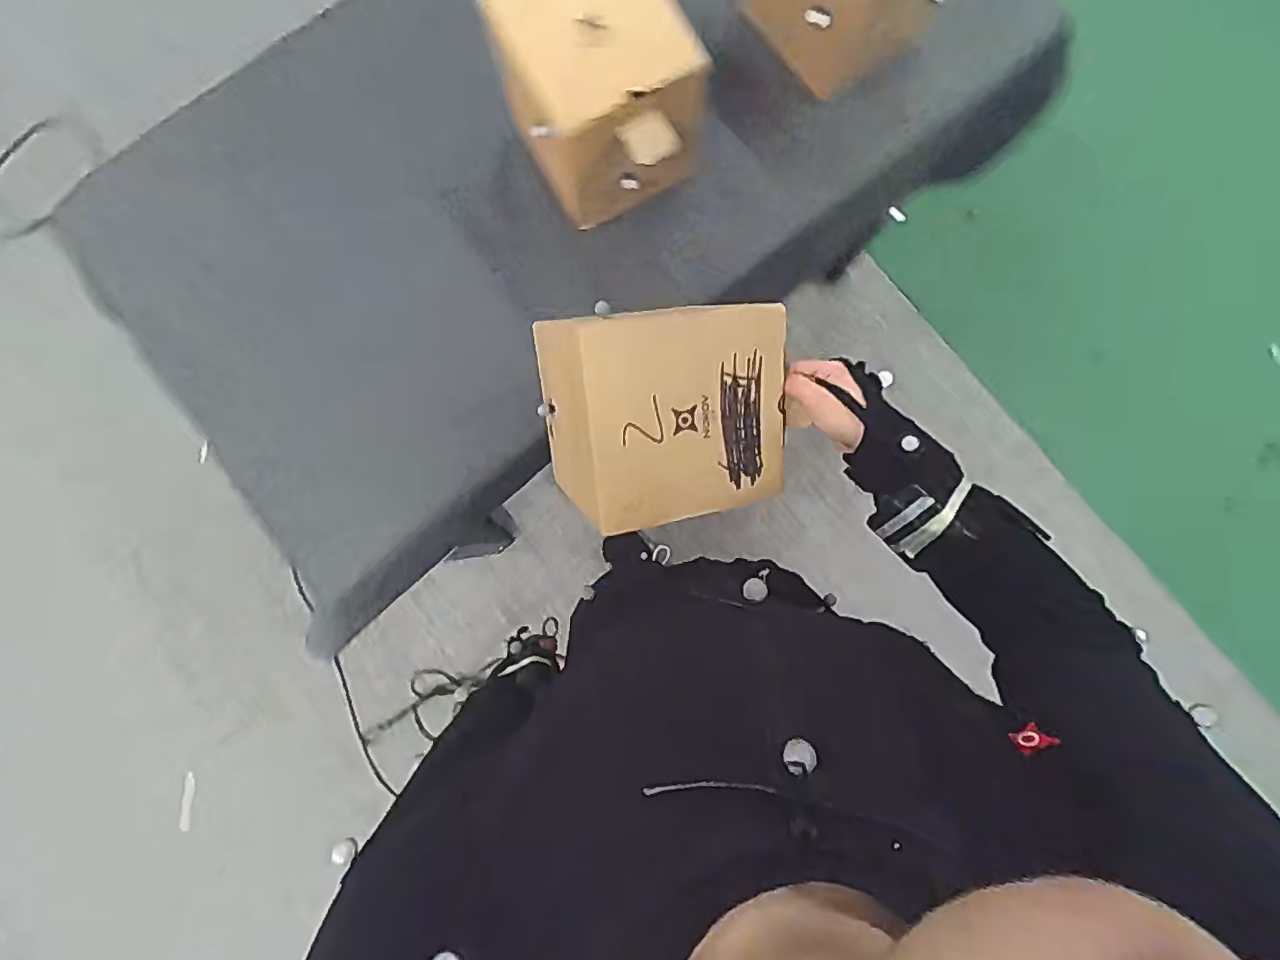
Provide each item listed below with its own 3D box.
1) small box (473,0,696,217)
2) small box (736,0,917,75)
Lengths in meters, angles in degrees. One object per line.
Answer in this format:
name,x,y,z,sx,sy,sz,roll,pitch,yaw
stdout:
small box,-0.060,-0.438,0.597,0.168,0.176,0.179,-30,86,-3
small box,0.231,-0.614,0.615,0.168,0.176,0.179,-38,85,-4
